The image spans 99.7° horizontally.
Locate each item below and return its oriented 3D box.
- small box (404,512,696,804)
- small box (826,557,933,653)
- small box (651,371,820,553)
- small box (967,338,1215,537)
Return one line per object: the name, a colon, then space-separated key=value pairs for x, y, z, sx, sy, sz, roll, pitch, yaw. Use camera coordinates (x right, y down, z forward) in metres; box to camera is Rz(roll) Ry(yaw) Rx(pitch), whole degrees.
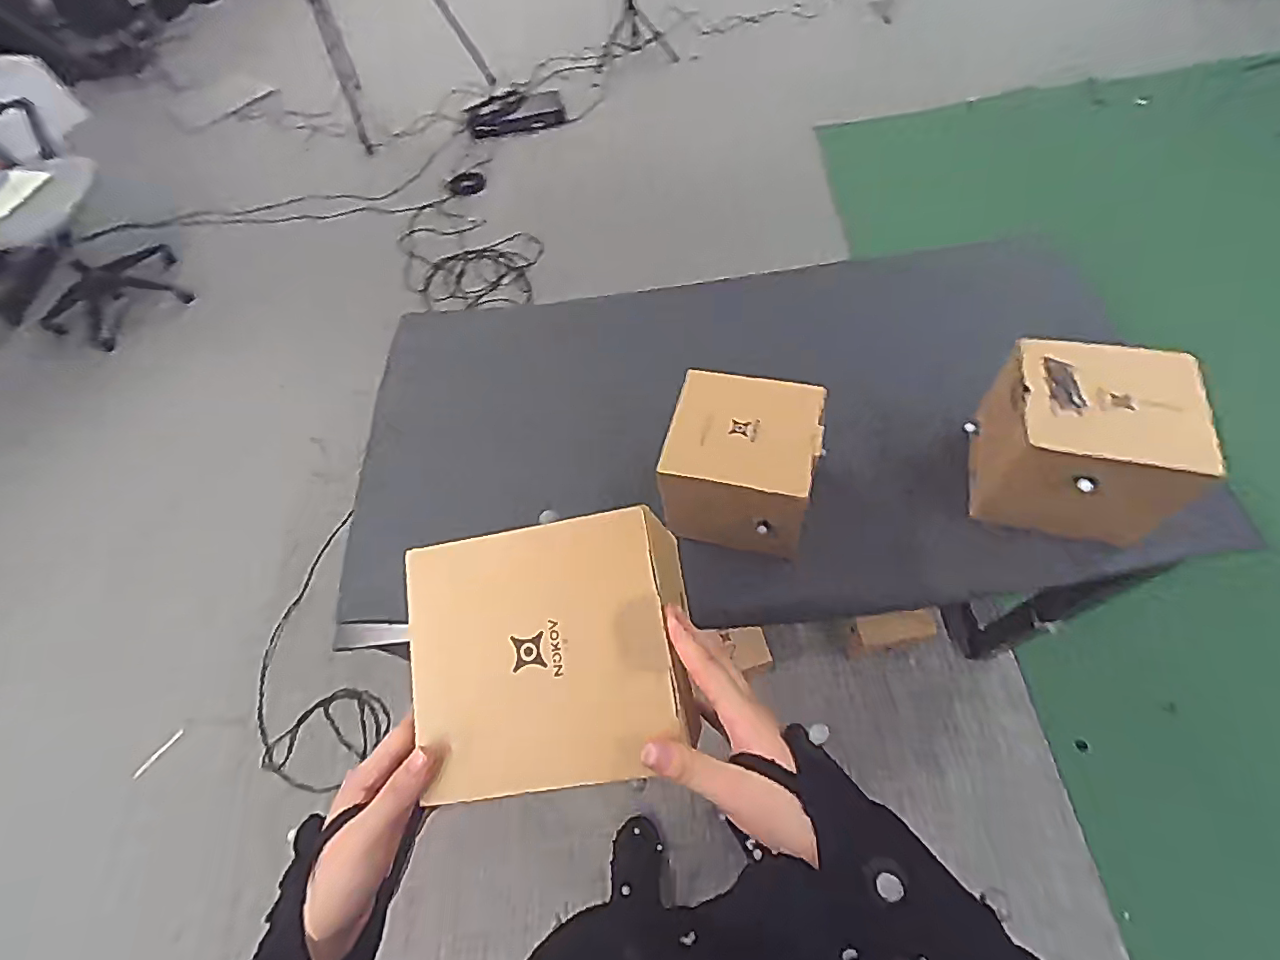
small box: x=-0.059 y=0.132 z=0.427 sx=0.179 sy=0.176 sz=0.168 roll=-11 pitch=75 yaw=7
small box: x=0.564 y=0.307 z=1.300 sx=0.168 sy=0.176 sz=0.179 roll=-12 pitch=60 yaw=2
small box: x=0.128 y=-0.019 z=0.712 sx=0.179 sy=0.176 sz=0.168 roll=9 pitch=60 yaw=16
small box: x=0.520 y=-0.048 z=0.659 sx=0.179 sy=0.176 sz=0.168 roll=11 pitch=61 yaw=16
